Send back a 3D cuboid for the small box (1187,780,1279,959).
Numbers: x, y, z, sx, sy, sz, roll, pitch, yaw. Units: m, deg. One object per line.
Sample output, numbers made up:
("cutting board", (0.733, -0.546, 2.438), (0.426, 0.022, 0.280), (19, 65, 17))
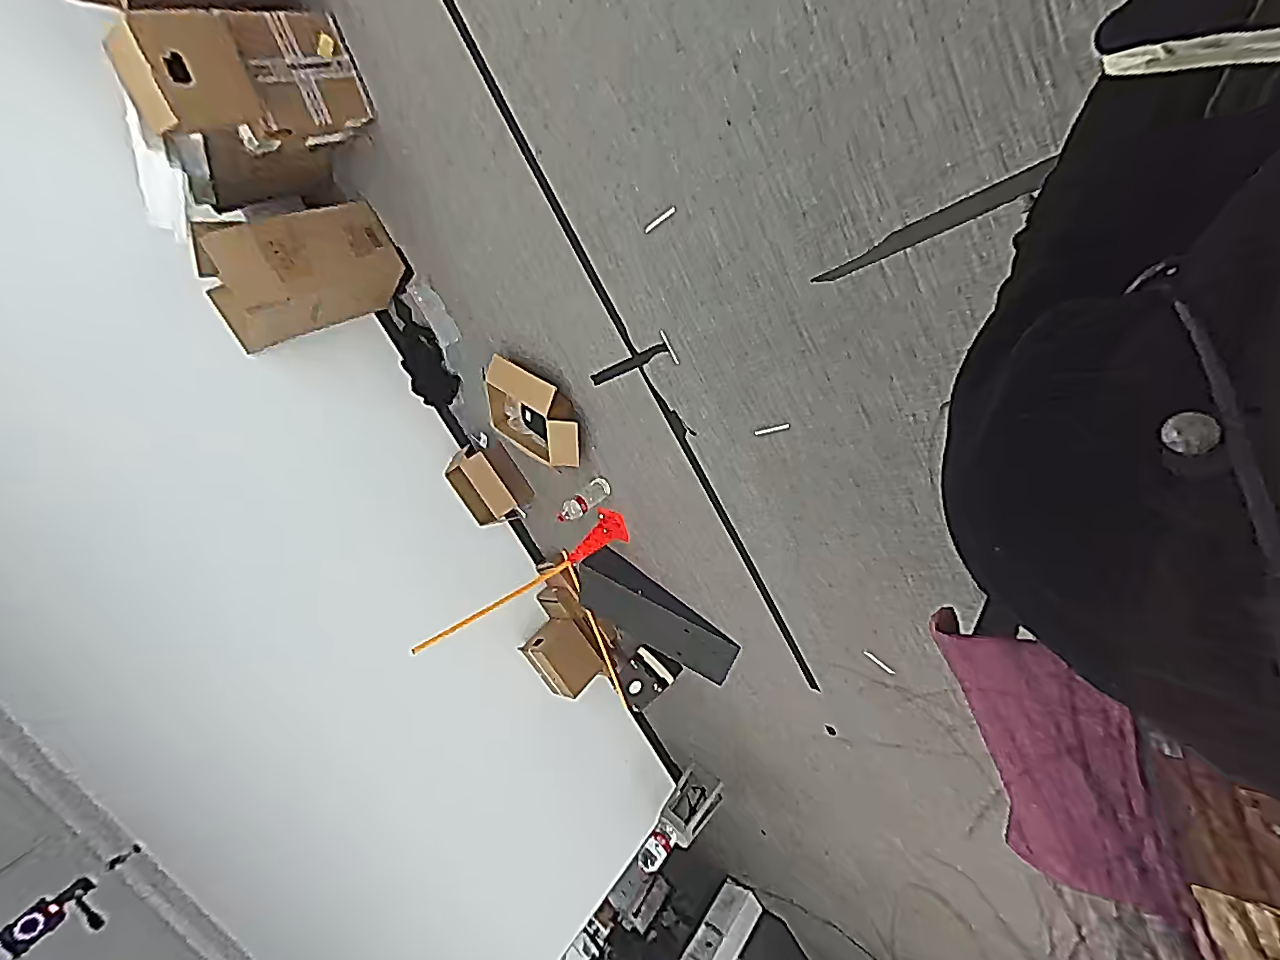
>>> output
("small box", (0.853, 0.549, 0.717), (0.168, 0.176, 0.179), (-3, 119, 49))
